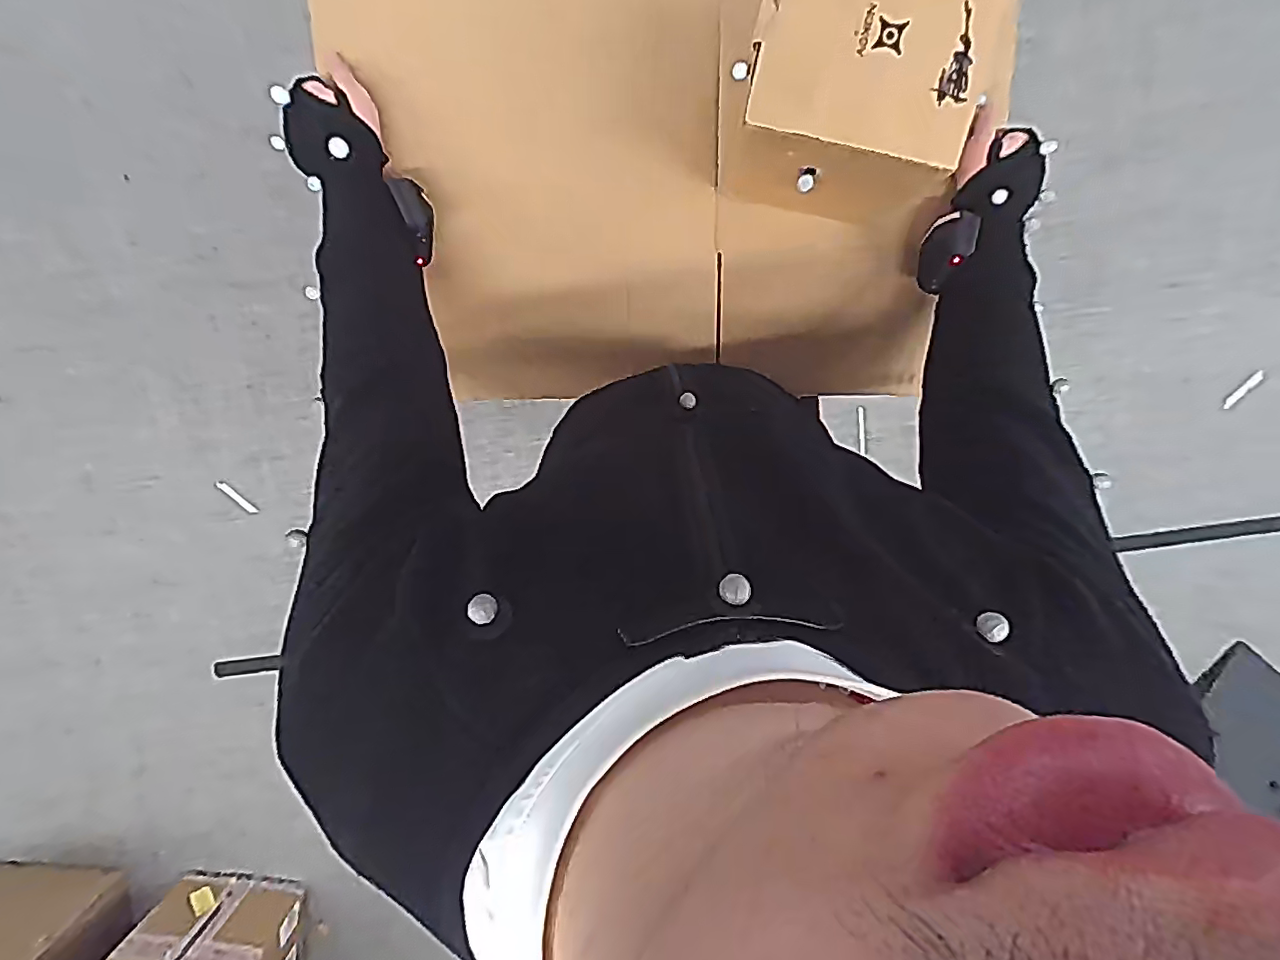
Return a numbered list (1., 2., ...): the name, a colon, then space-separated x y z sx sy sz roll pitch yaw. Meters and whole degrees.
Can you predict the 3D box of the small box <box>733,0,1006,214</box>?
1. small box: 0.191 -0.364 0.494 0.179 0.176 0.168 13 102 2
